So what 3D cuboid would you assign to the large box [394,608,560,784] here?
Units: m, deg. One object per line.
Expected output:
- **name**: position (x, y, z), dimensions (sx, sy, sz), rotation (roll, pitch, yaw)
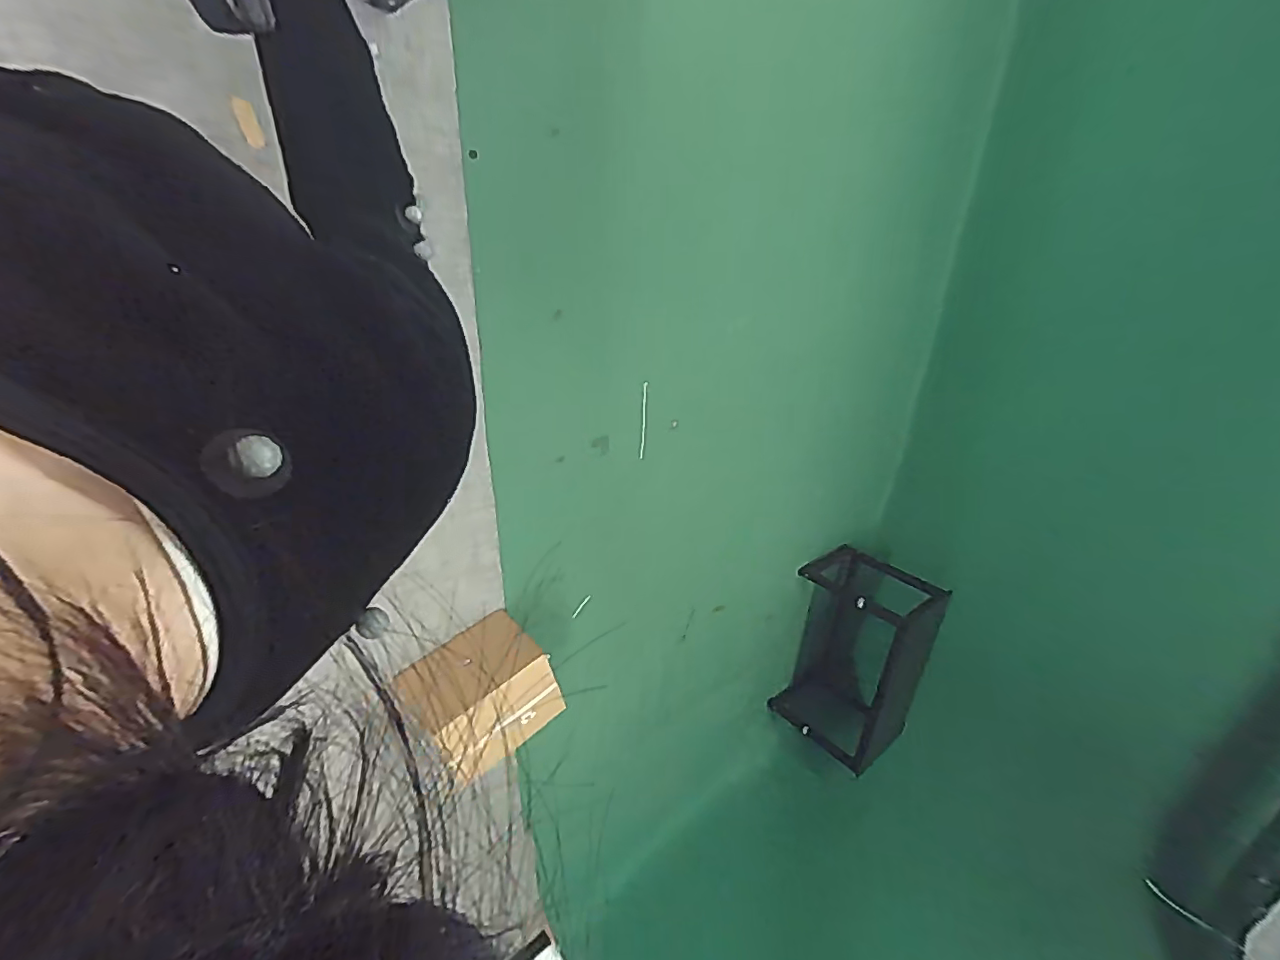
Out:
- **large box**: position (-0.555, 0.729, 1.871), dimensions (0.408, 0.320, 0.320), rotation (-33, 131, -30)
